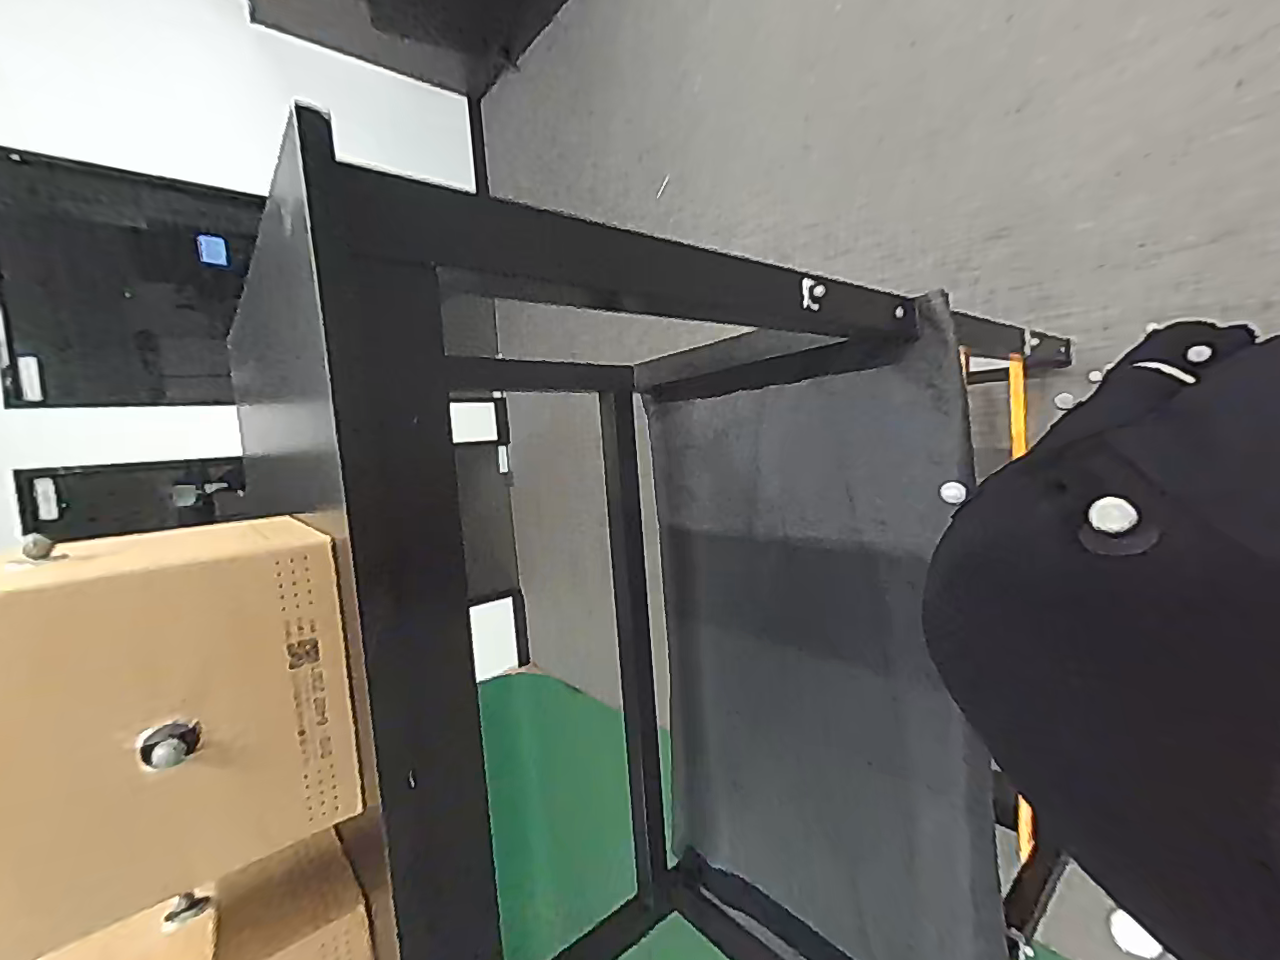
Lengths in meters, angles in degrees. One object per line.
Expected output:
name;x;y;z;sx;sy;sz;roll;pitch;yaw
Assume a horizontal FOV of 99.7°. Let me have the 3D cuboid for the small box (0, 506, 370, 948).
small box;-0.277;0.110;0.336;0.179;0.176;0.168;2;98;51
